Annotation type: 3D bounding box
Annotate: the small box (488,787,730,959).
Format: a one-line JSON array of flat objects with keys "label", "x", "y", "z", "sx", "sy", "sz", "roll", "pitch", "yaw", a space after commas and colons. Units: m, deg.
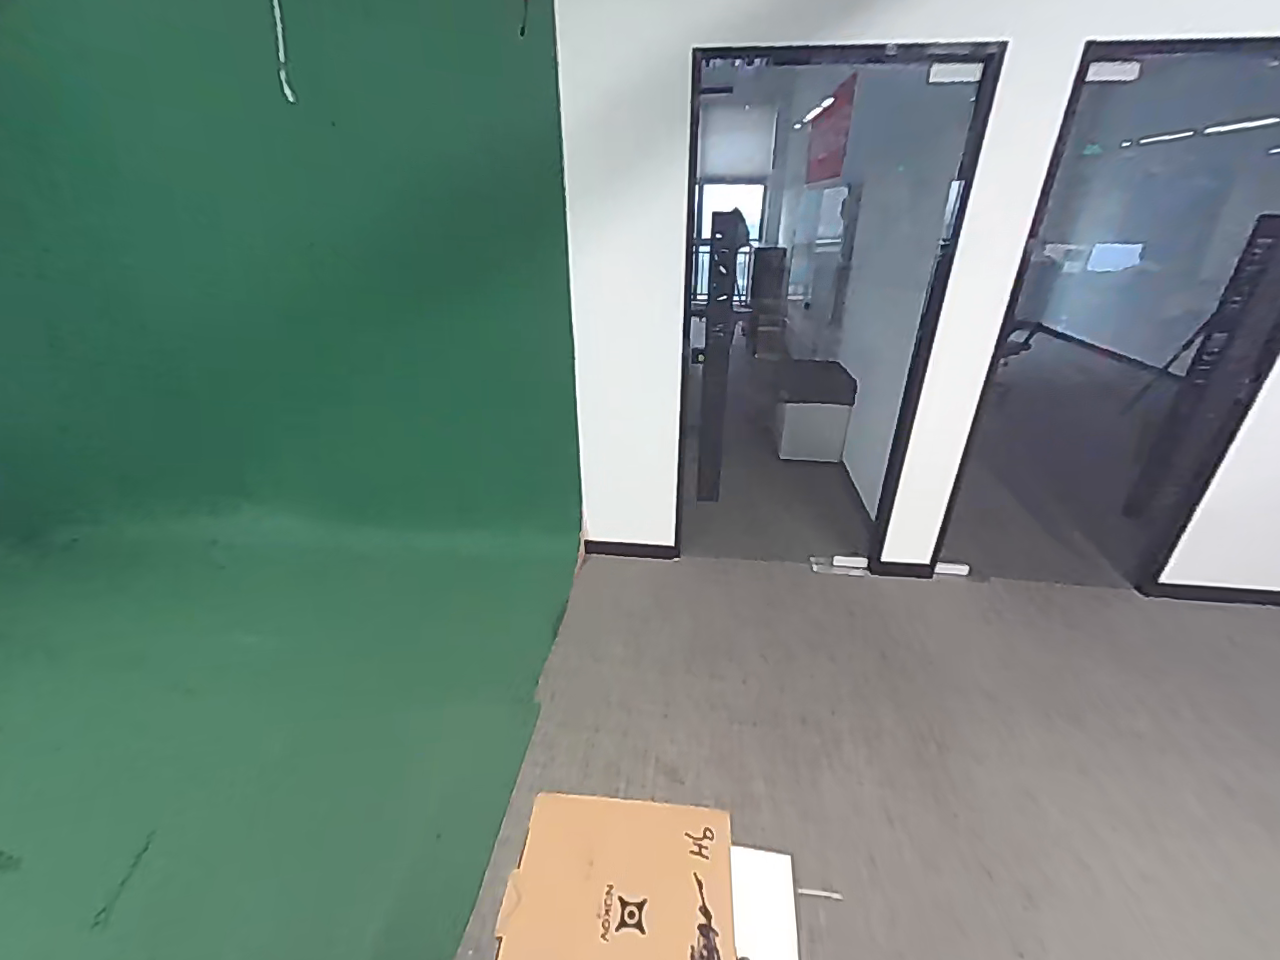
[{"label": "small box", "x": -0.019, "y": 0.393, "z": 0.457, "sx": 0.179, "sy": 0.176, "sz": 0.168, "roll": 3, "pitch": 32, "yaw": 4}]
